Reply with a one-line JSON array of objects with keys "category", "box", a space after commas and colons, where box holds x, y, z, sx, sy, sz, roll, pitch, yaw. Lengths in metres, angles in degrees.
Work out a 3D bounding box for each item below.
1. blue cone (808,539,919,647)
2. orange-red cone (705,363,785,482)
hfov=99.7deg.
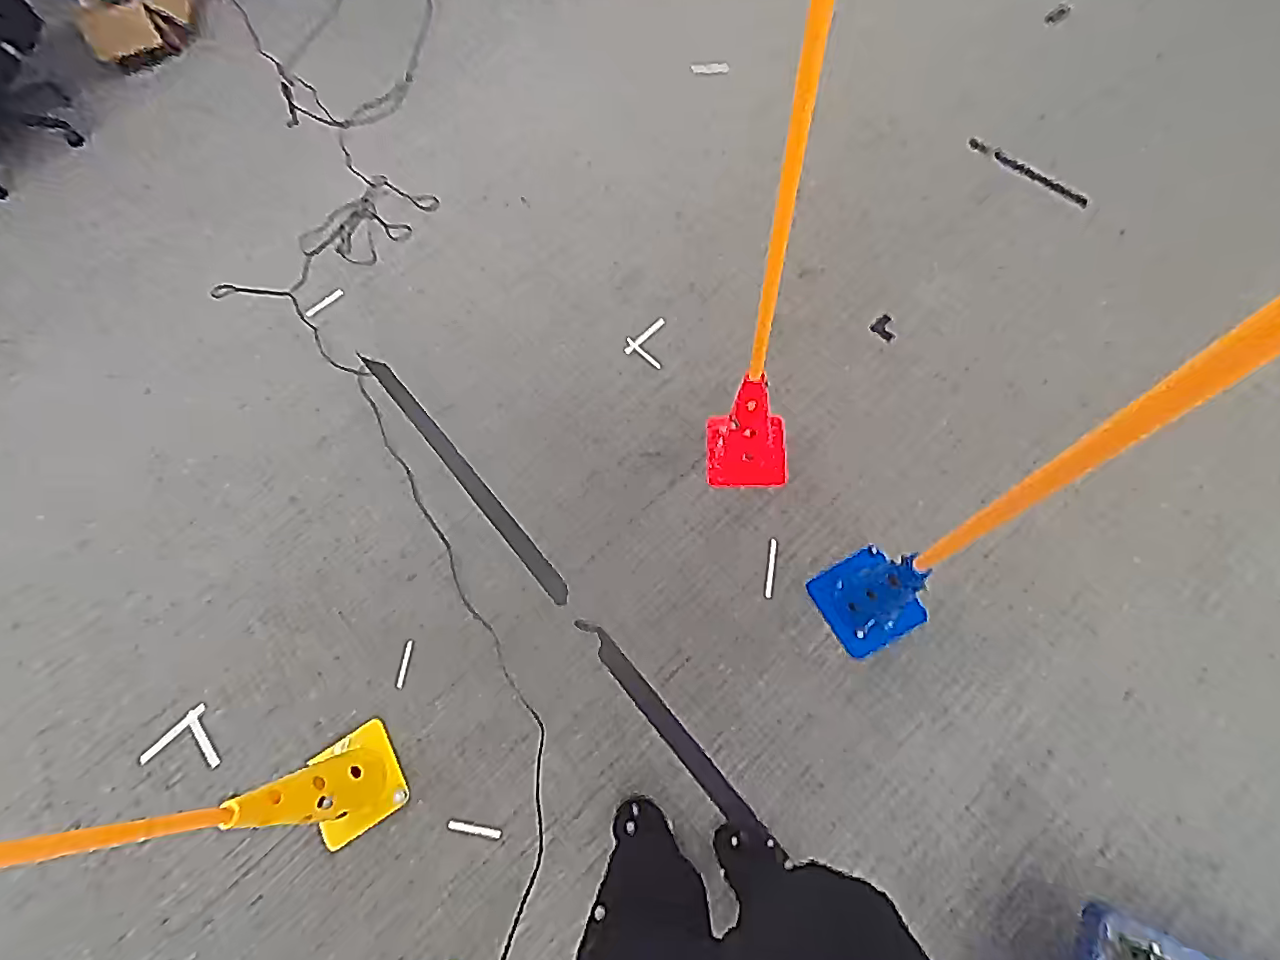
[{"category": "blue cone", "box": [0.476, 0.195, 1.065, 0.193, 0.380, 0.192, -27, 66, -4]}, {"category": "orange-red cone", "box": [0.244, -0.148, 1.223, 0.198, 0.360, 0.199, 0, 69, 9]}]
